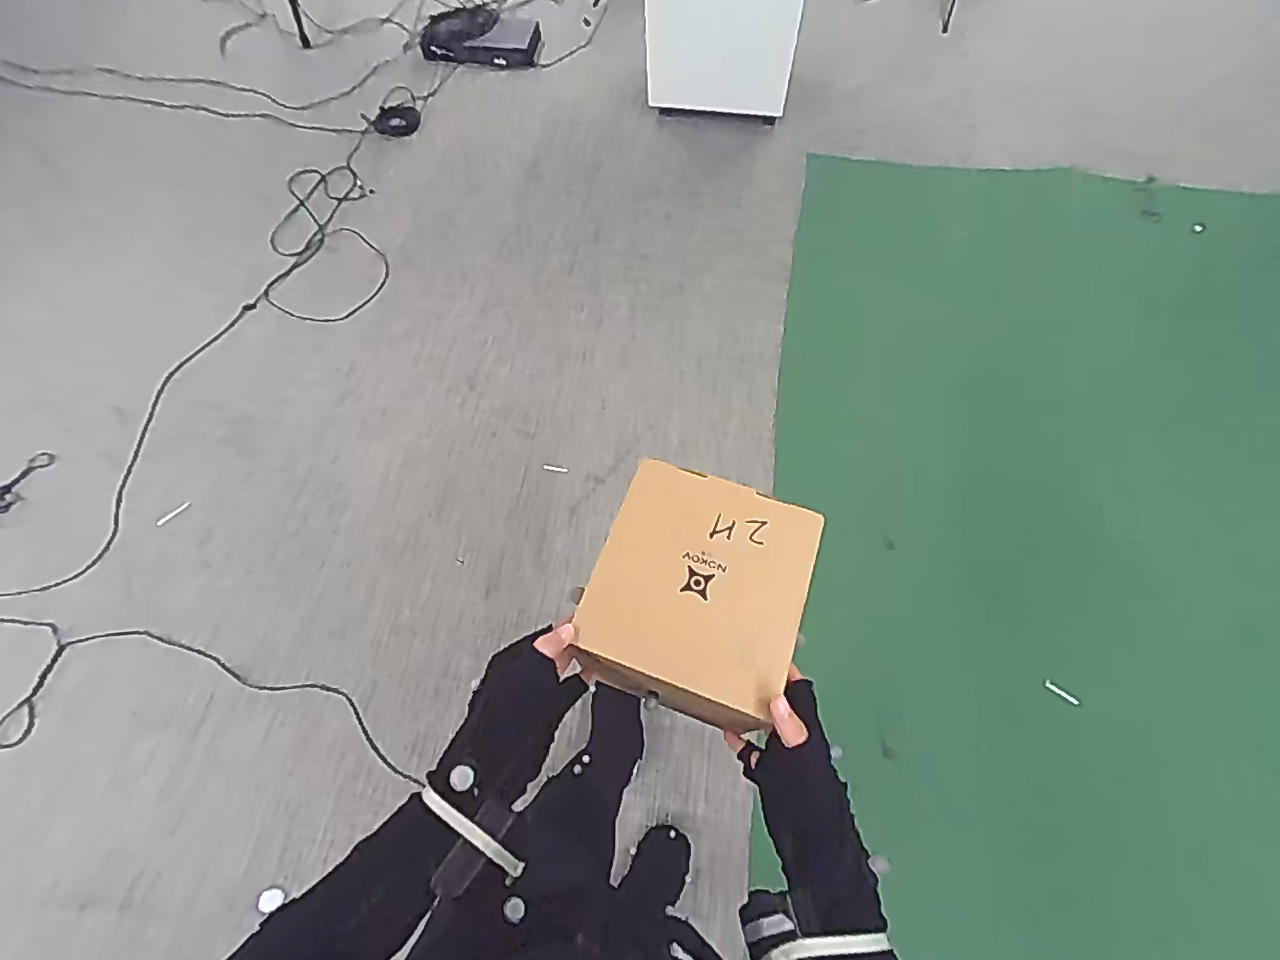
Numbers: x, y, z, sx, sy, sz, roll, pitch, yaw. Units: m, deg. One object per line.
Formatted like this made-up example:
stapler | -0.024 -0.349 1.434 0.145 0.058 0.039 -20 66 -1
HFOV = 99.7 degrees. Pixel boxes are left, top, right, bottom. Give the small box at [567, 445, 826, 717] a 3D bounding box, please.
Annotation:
small box | 0.051 0.102 0.501 0.168 0.176 0.179 19 64 9
